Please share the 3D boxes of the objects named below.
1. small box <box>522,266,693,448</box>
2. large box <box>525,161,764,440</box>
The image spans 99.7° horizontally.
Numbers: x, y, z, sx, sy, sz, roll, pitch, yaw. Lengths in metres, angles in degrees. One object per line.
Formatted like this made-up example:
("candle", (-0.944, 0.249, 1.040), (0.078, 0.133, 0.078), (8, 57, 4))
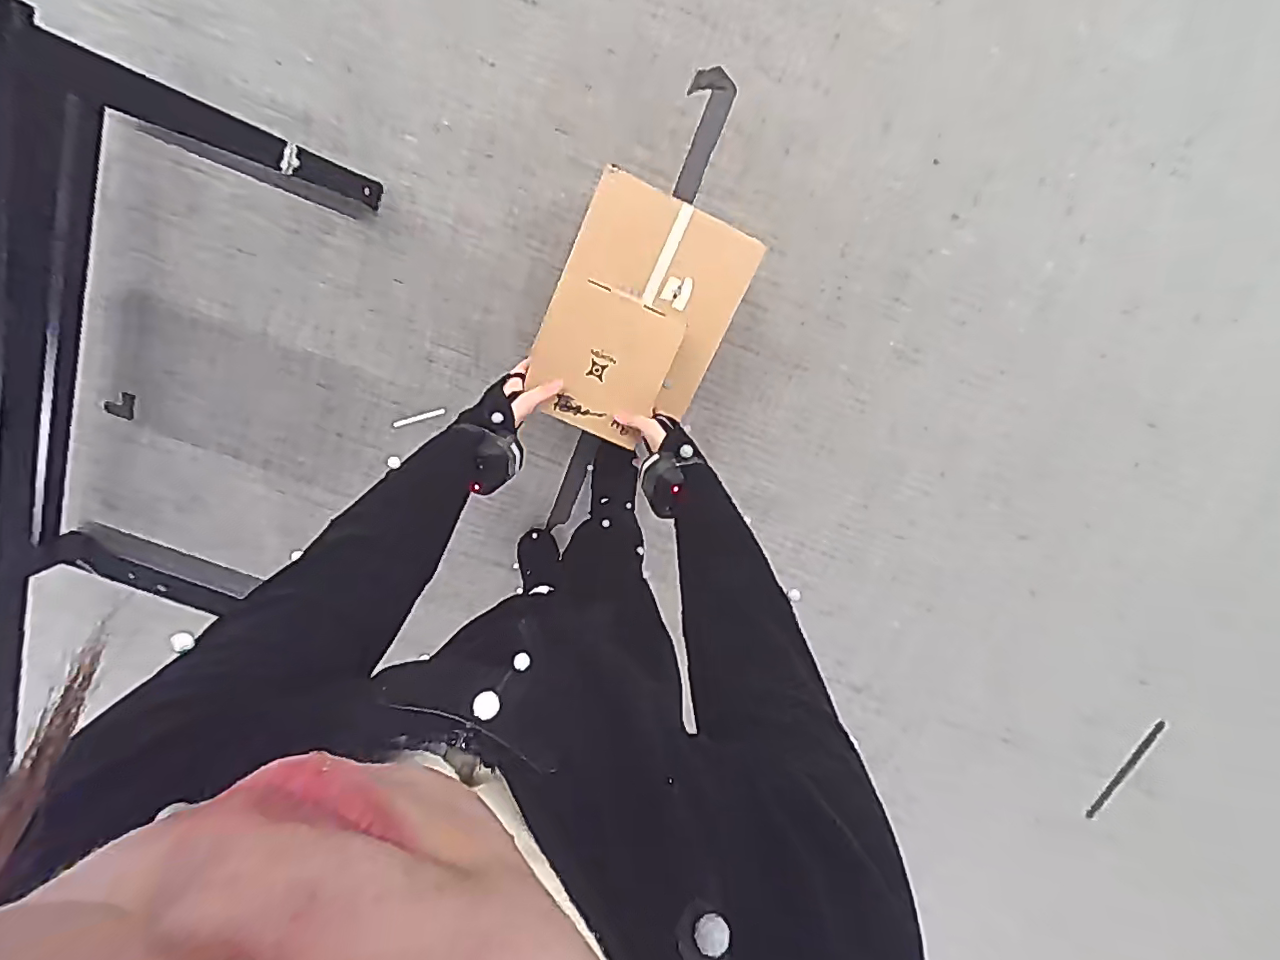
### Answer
("small box", (-0.042, -0.170, 0.749), (0.168, 0.176, 0.179), (24, 105, -4))
("large box", (0.002, -0.347, 1.121), (0.320, 0.320, 0.408), (24, 105, -7))
